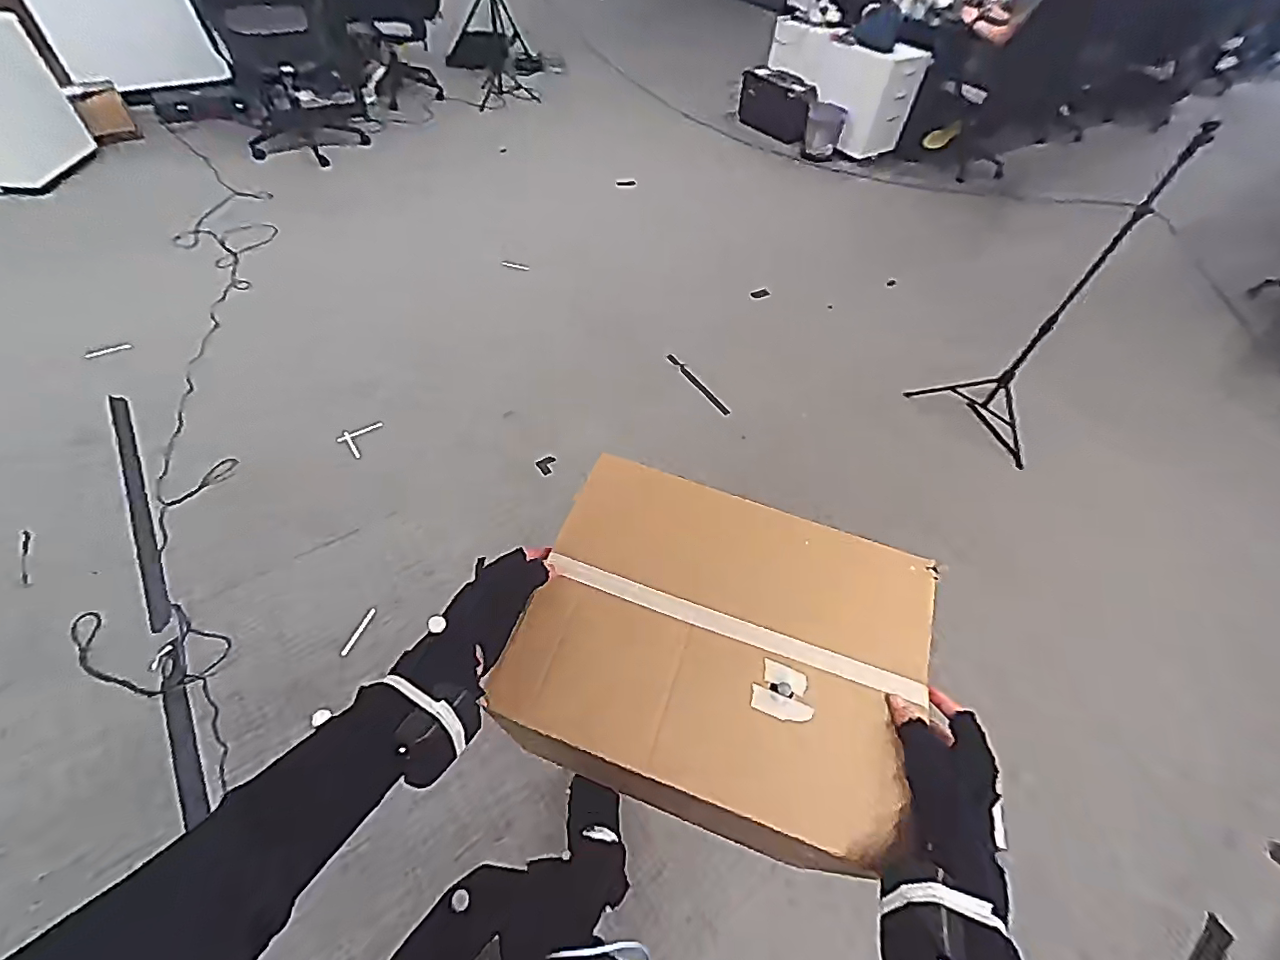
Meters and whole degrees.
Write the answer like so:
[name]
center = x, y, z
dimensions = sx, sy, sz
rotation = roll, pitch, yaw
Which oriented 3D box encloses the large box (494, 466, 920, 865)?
[large box]
center = 0.080, 0.239, 0.699
dimensions = 0.408, 0.320, 0.320
rotation = 19, 59, 8
